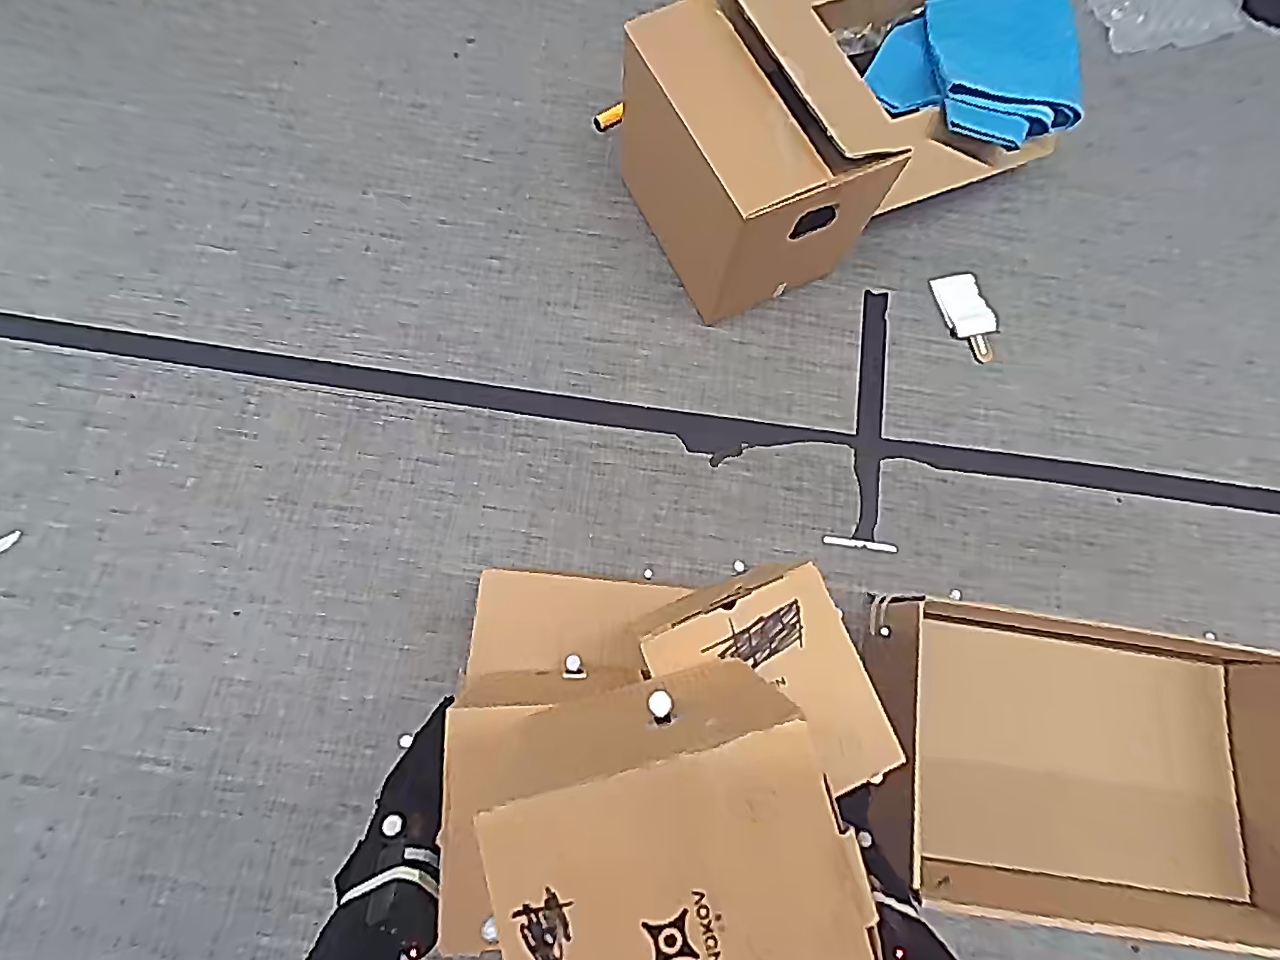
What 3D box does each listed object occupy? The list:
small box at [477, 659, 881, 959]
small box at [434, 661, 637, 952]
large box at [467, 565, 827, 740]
[{"bbox_3d":[0.018,0.224,0.336,0.179,0.176,0.168,-14,82,-5],"label":"small box"},{"bbox_3d":[-0.077,0.270,0.490,0.168,0.176,0.179,-1,79,-6],"label":"small box"},{"bbox_3d":[-0.005,0.289,0.737,0.408,0.320,0.320,6,81,-3],"label":"large box"}]
